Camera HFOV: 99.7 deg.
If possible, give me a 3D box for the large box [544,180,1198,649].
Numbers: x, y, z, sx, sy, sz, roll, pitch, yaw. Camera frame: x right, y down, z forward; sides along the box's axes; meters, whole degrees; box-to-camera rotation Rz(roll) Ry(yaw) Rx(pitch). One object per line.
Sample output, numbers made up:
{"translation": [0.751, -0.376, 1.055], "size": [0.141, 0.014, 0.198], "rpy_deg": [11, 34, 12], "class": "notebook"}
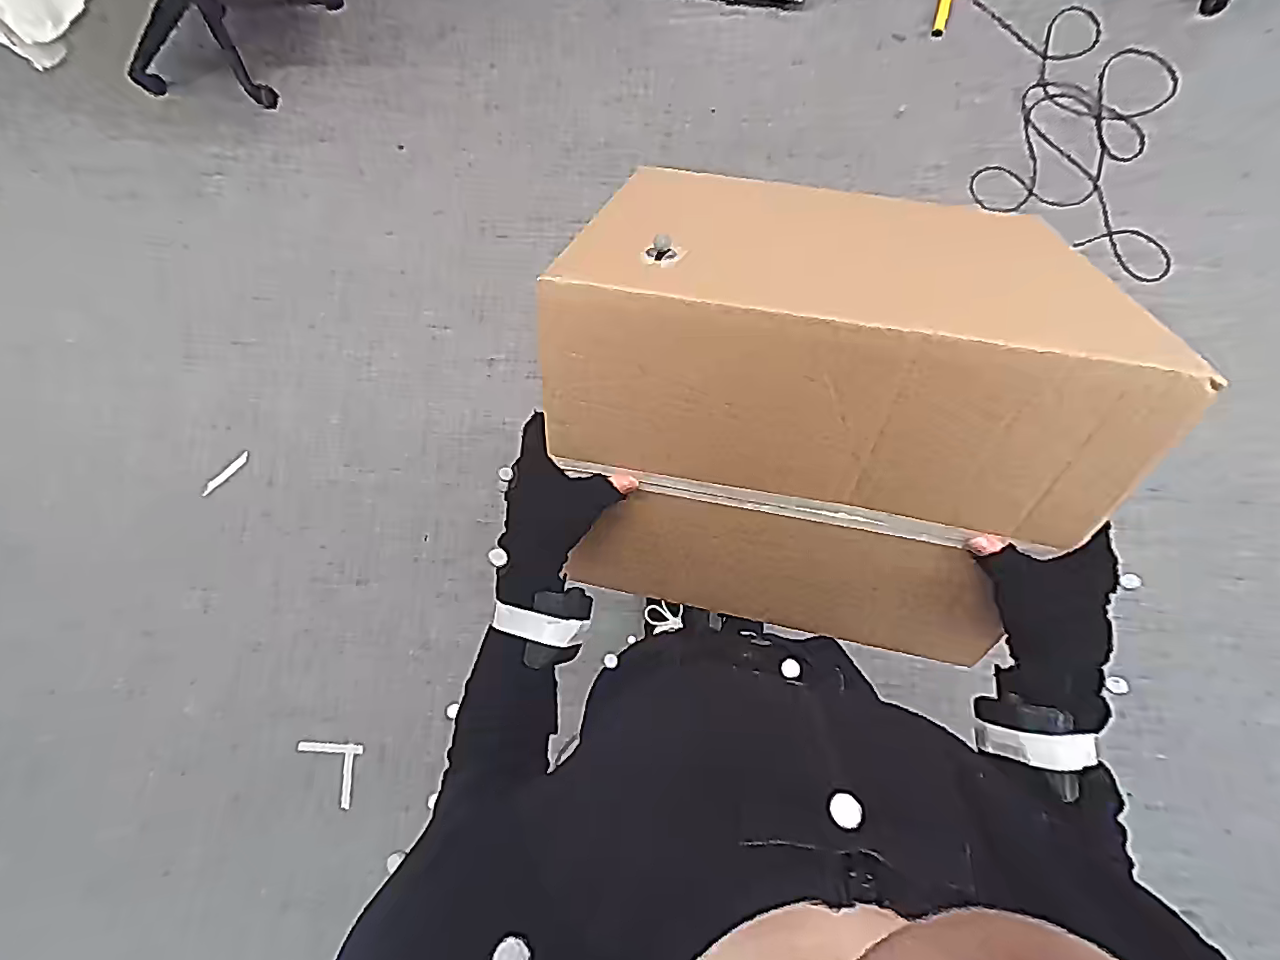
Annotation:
{"translation": [0.150, -0.083, 0.543], "size": [0.408, 0.320, 0.320], "rpy_deg": [11, 43, 6], "class": "large box"}
